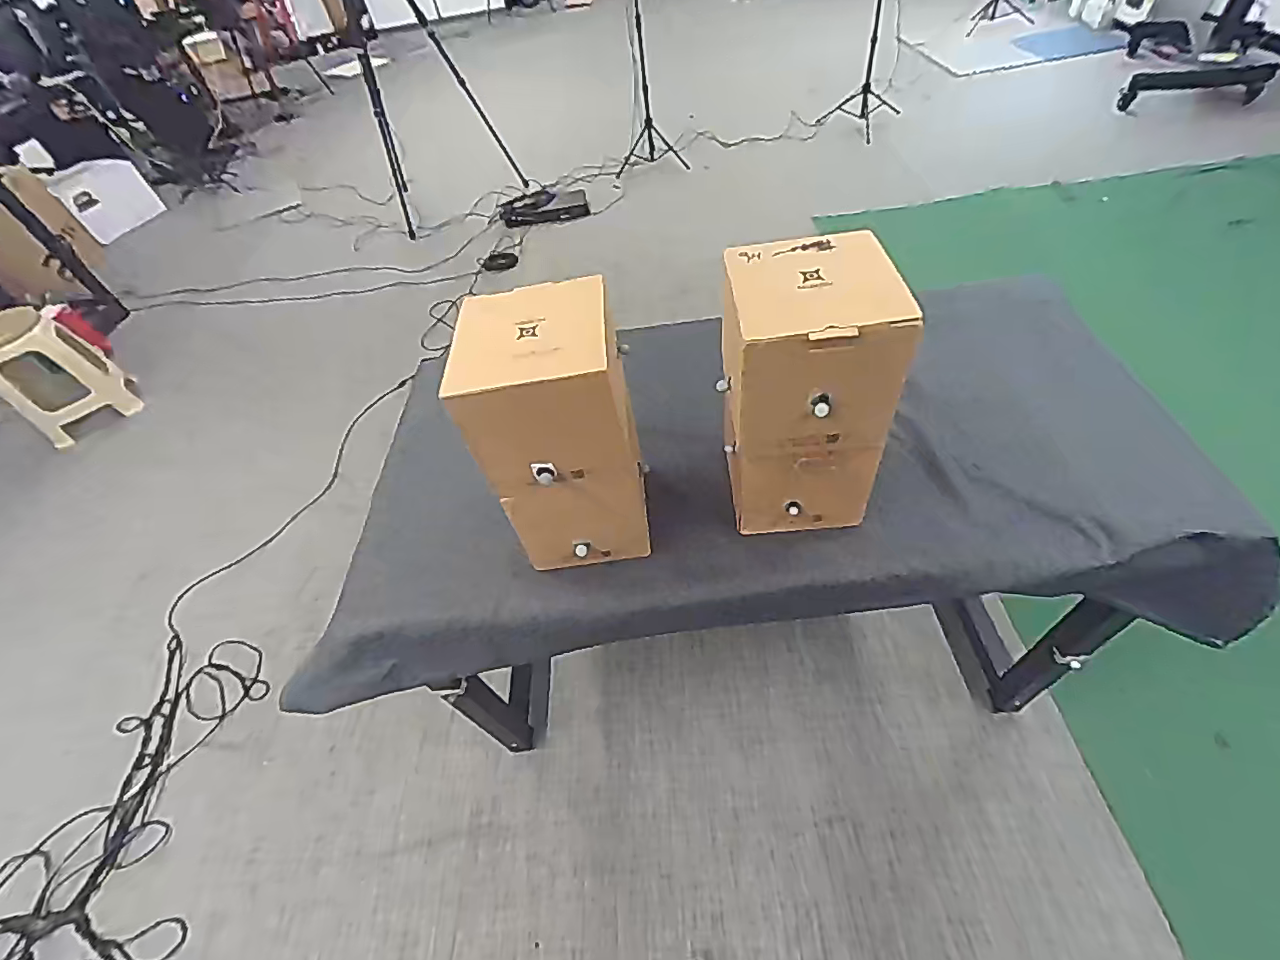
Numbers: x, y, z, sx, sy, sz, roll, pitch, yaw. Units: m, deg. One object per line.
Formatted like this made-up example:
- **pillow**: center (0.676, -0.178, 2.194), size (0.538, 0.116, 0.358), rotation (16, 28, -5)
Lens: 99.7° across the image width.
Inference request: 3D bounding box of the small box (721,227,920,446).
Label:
- **small box**: center (0.183, -0.151, 0.607), size (0.168, 0.176, 0.179), rotation (-5, 51, 5)

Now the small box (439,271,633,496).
- **small box**: center (-0.104, -0.106, 0.616), size (0.168, 0.176, 0.179), rotation (-9, 51, 4)

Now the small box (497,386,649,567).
- **small box**: center (-0.083, -0.004, 0.741), size (0.168, 0.176, 0.179), rotation (-8, 51, 3)

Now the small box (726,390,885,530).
- **small box**: center (0.207, -0.053, 0.735), size (0.168, 0.176, 0.179), rotation (-6, 50, 5)
